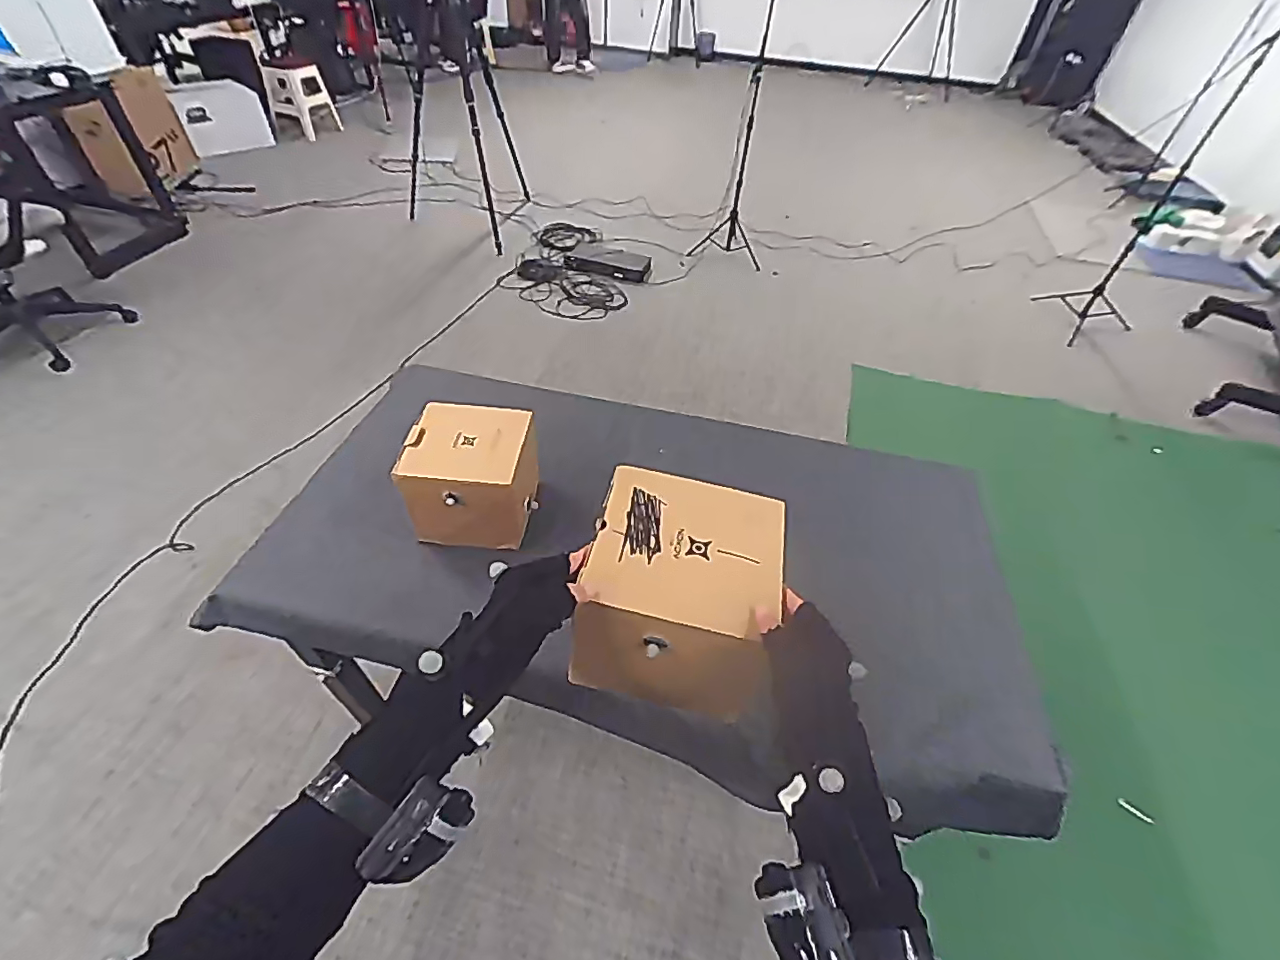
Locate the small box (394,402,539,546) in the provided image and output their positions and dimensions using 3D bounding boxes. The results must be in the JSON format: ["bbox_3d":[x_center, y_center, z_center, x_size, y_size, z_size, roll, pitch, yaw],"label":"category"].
[{"bbox_3d":[-0.271,-0.007,0.893,0.179,0.176,0.168,6,48,-1],"label":"small box"}]

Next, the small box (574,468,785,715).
[{"bbox_3d":[0.036,0.117,0.555,0.179,0.176,0.168,14,47,3],"label":"small box"}]
